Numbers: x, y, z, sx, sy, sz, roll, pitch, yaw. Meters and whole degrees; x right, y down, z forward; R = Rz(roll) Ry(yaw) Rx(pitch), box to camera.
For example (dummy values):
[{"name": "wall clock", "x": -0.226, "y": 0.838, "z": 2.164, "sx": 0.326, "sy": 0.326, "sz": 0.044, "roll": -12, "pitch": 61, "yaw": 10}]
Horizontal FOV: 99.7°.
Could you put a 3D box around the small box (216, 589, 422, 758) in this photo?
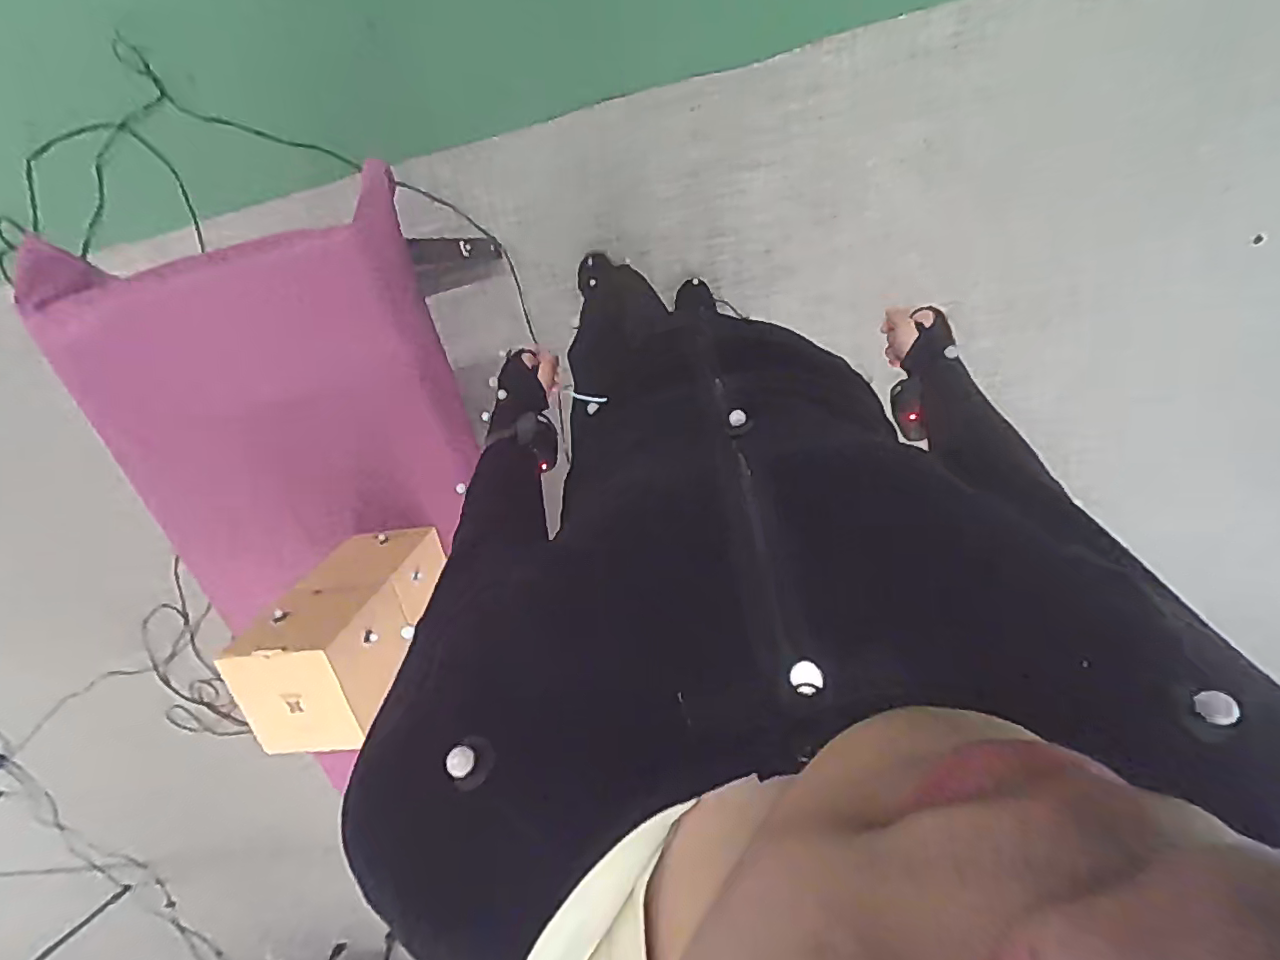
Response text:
[{"name": "small box", "x": -0.453, "y": 0.274, "z": 0.795, "sx": 0.168, "sy": 0.176, "sz": 0.179, "roll": -7, "pitch": 111, "yaw": 8}]
